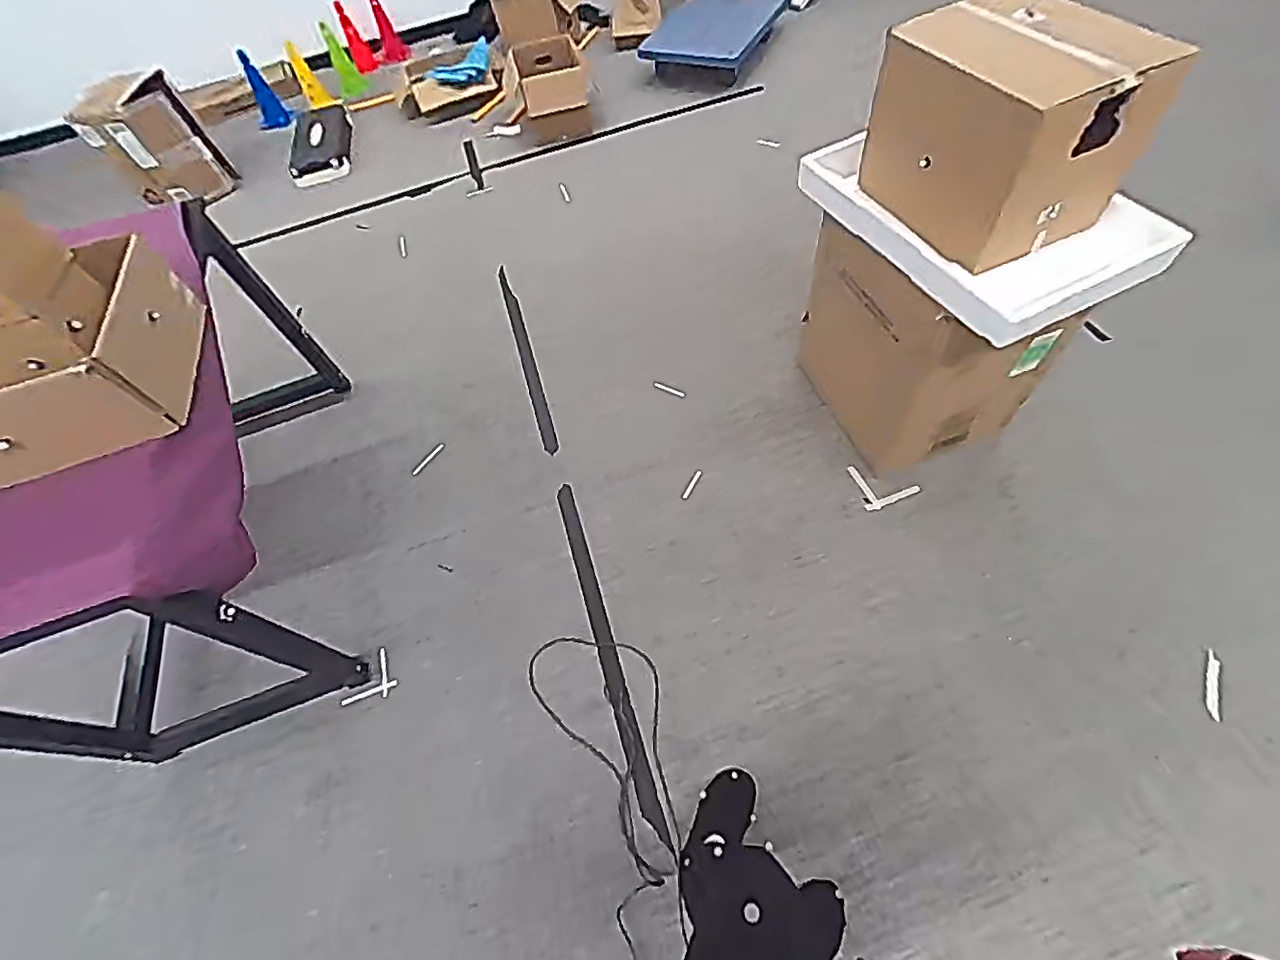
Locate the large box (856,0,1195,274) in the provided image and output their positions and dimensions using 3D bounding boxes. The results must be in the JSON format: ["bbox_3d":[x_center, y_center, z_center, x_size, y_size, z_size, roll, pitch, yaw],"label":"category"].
[{"bbox_3d":[0.708,-0.693,1.088,0.320,0.320,0.408,-23,56,-7],"label":"large box"}]
